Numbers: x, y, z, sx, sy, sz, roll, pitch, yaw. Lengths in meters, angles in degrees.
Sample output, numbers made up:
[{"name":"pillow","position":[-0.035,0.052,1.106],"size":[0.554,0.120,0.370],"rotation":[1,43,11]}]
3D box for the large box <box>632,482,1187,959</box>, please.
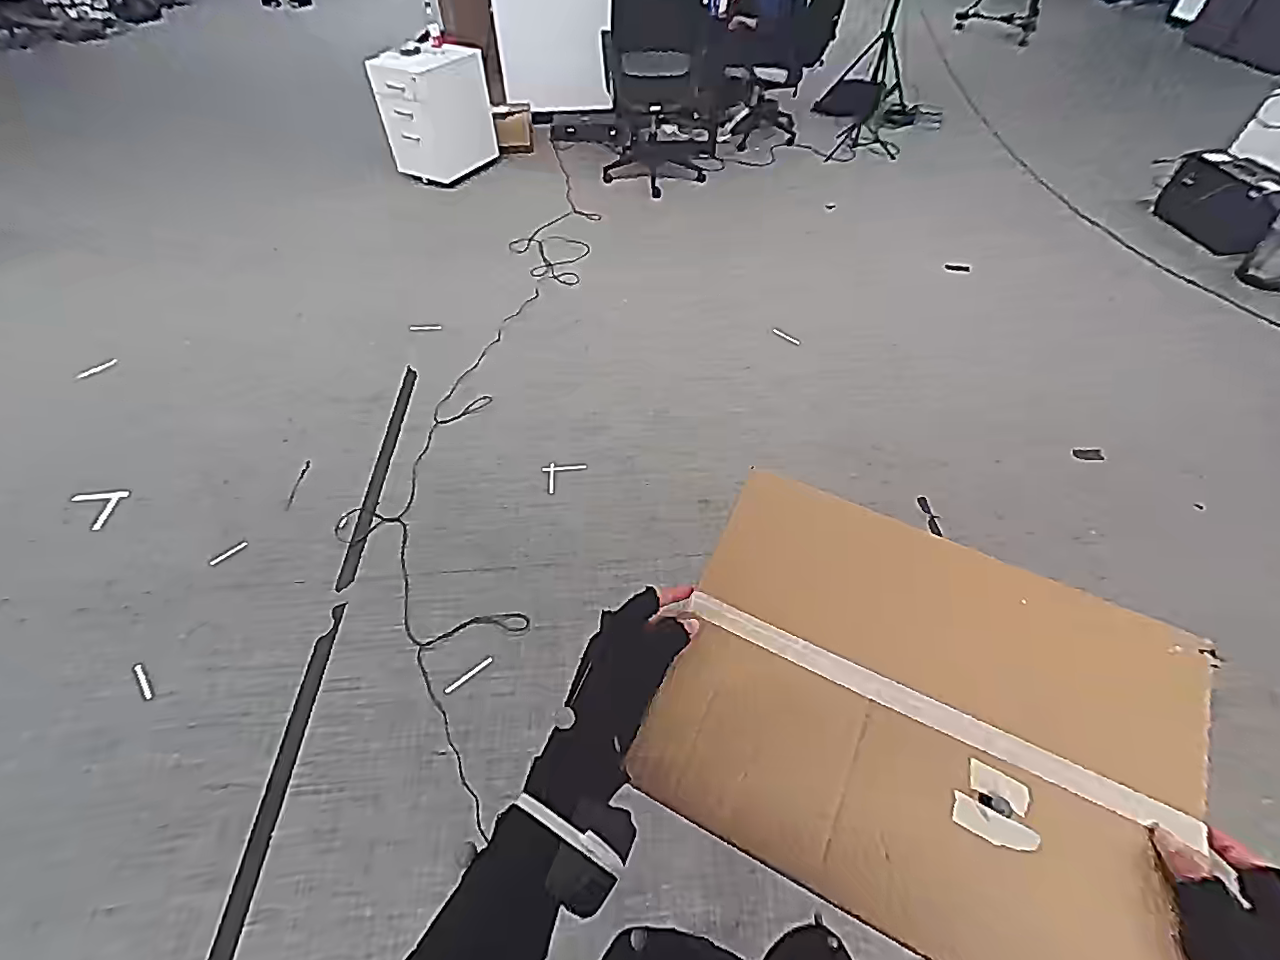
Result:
[{"name":"large box","position":[0.240,0.262,0.593],"size":[0.408,0.320,0.320],"rotation":[23,67,15]}]
